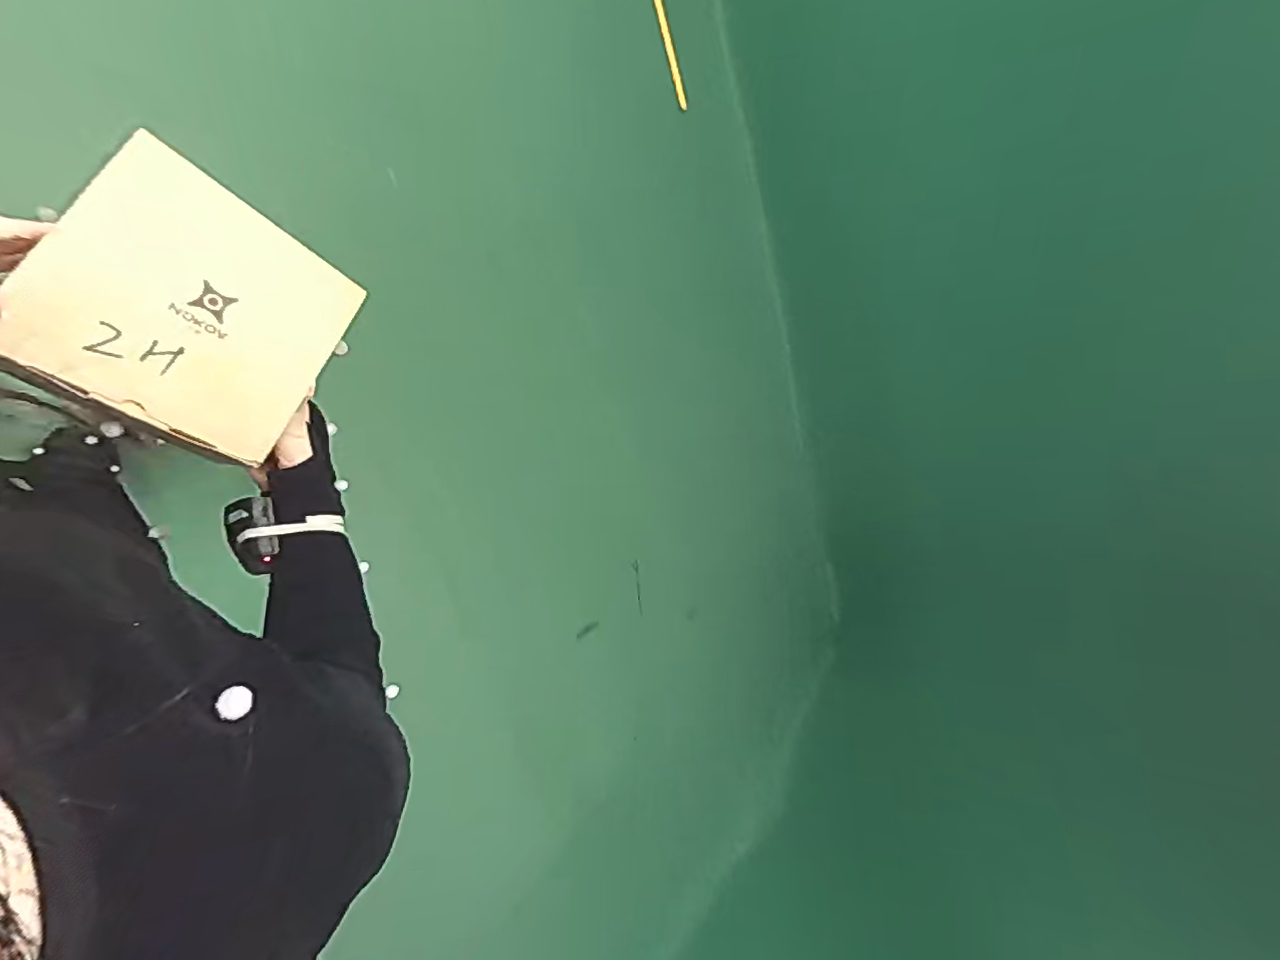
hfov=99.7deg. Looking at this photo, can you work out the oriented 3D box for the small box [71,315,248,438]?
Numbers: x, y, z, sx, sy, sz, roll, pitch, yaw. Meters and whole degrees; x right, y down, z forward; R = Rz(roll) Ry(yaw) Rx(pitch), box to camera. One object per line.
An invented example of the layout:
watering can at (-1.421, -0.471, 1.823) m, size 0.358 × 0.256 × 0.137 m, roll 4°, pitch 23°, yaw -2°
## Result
small box at (-0.856, -0.184, 0.964) m, size 0.179 × 0.176 × 0.168 m, roll -37°, pitch 119°, yaw -40°
